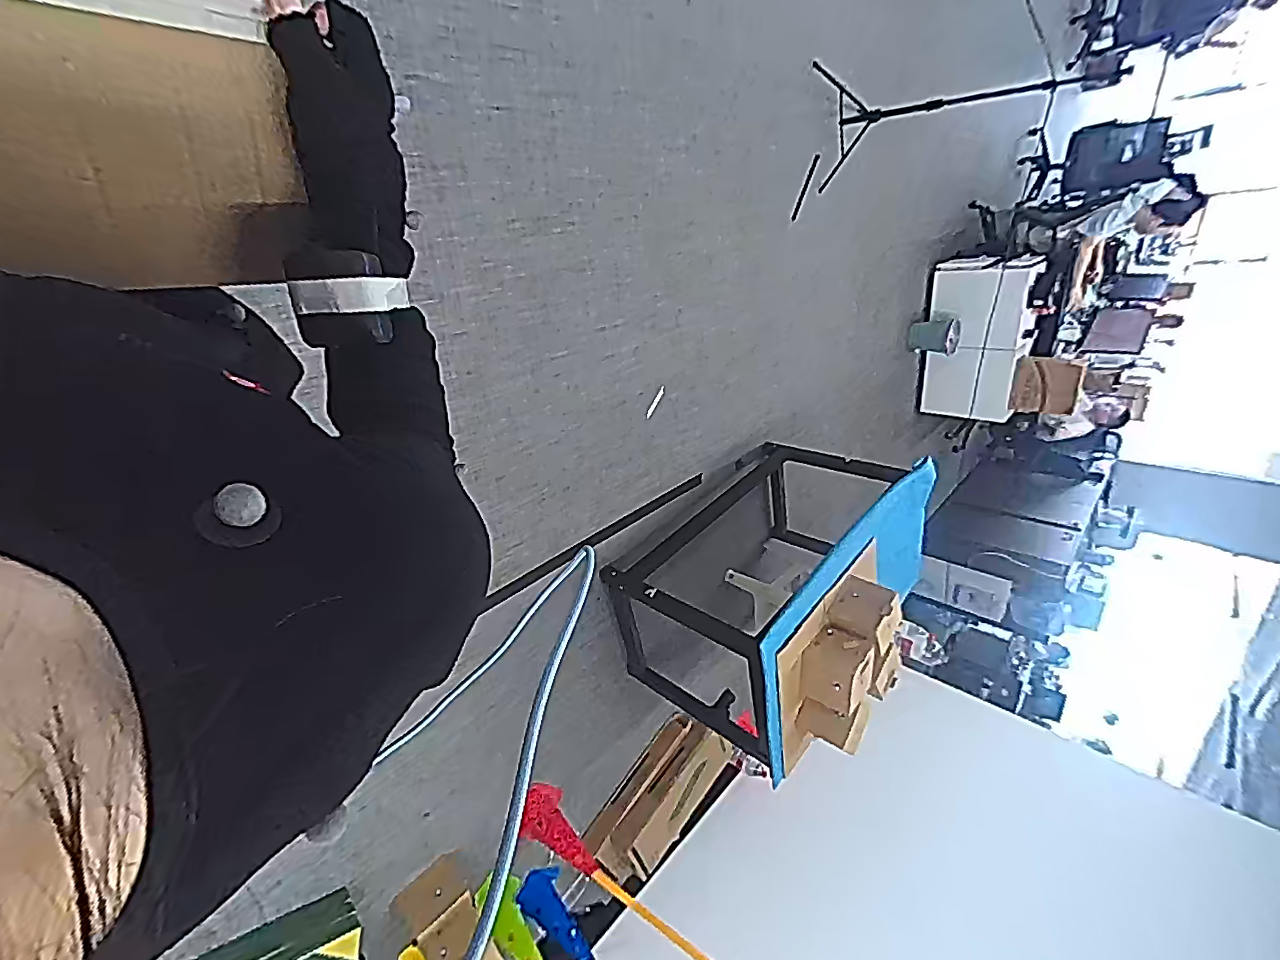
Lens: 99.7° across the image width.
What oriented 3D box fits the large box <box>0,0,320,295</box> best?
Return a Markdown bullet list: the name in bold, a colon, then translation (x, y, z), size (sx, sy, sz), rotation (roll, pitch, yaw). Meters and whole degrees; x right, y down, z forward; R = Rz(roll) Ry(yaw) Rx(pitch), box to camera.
- **large box**: translation (-0.449, -0.308, 0.275), size (0.408, 0.320, 0.320), rotation (-21, 145, -38)
